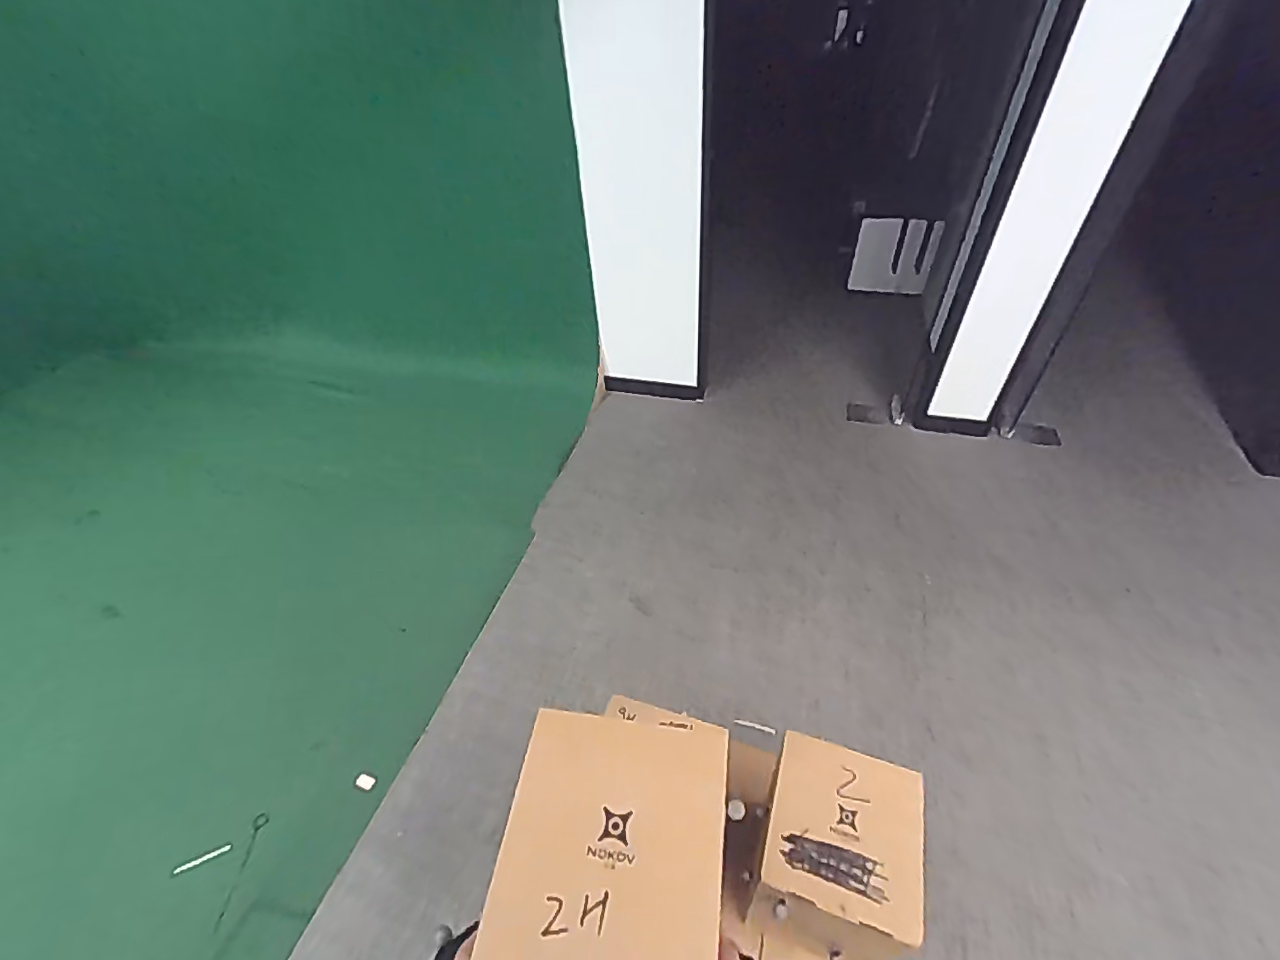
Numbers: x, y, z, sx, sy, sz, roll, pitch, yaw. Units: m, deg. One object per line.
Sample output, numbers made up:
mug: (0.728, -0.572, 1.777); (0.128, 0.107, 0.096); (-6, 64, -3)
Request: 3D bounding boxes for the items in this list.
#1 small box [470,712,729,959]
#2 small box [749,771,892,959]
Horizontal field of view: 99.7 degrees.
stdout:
small box: (-0.017, 0.325, 0.461); (0.168, 0.176, 0.179); (4, 49, 9)
small box: (0.257, 0.569, 0.787); (0.168, 0.176, 0.179); (12, 46, 18)
